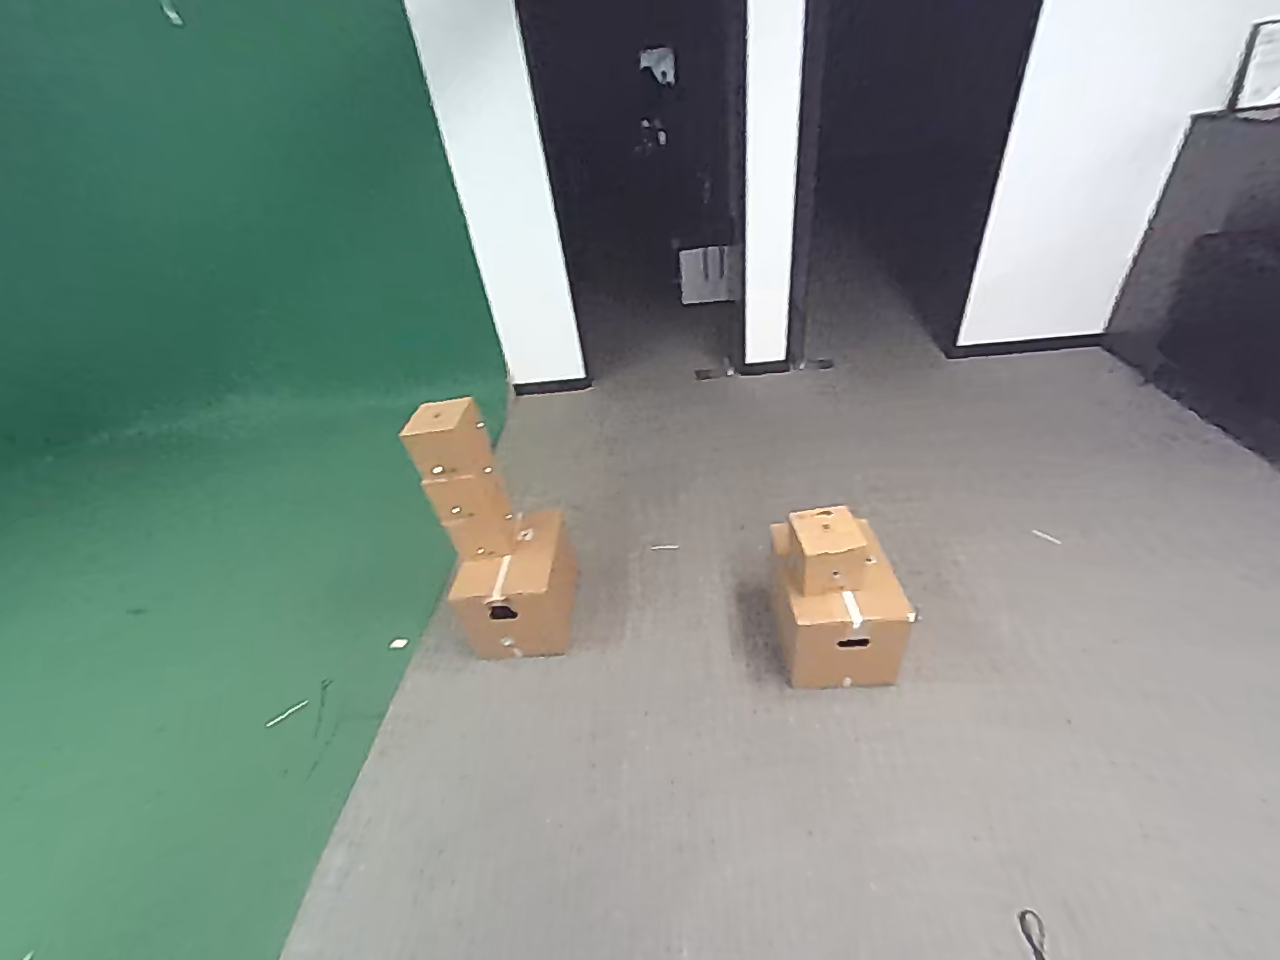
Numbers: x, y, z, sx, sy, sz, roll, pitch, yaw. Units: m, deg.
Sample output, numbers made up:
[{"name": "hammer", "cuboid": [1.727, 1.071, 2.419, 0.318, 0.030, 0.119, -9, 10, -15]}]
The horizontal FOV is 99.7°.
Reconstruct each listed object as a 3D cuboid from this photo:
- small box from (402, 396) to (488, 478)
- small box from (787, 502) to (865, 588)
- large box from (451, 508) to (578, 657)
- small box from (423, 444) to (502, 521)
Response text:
[{"name": "small box", "cuboid": [-0.571, -0.127, 1.613, 0.168, 0.176, 0.179, -7, 38, 8]}, {"name": "small box", "cuboid": [0.520, 0.191, 1.529, 0.168, 0.176, 0.179, -8, 38, 3]}, {"name": "large box", "cuboid": [-0.415, 0.354, 1.897, 0.320, 0.320, 0.408, -5, 36, 5]}, {"name": "small box", "cuboid": [-0.549, 0.006, 1.706, 0.168, 0.176, 0.179, -8, 38, 6]}]
